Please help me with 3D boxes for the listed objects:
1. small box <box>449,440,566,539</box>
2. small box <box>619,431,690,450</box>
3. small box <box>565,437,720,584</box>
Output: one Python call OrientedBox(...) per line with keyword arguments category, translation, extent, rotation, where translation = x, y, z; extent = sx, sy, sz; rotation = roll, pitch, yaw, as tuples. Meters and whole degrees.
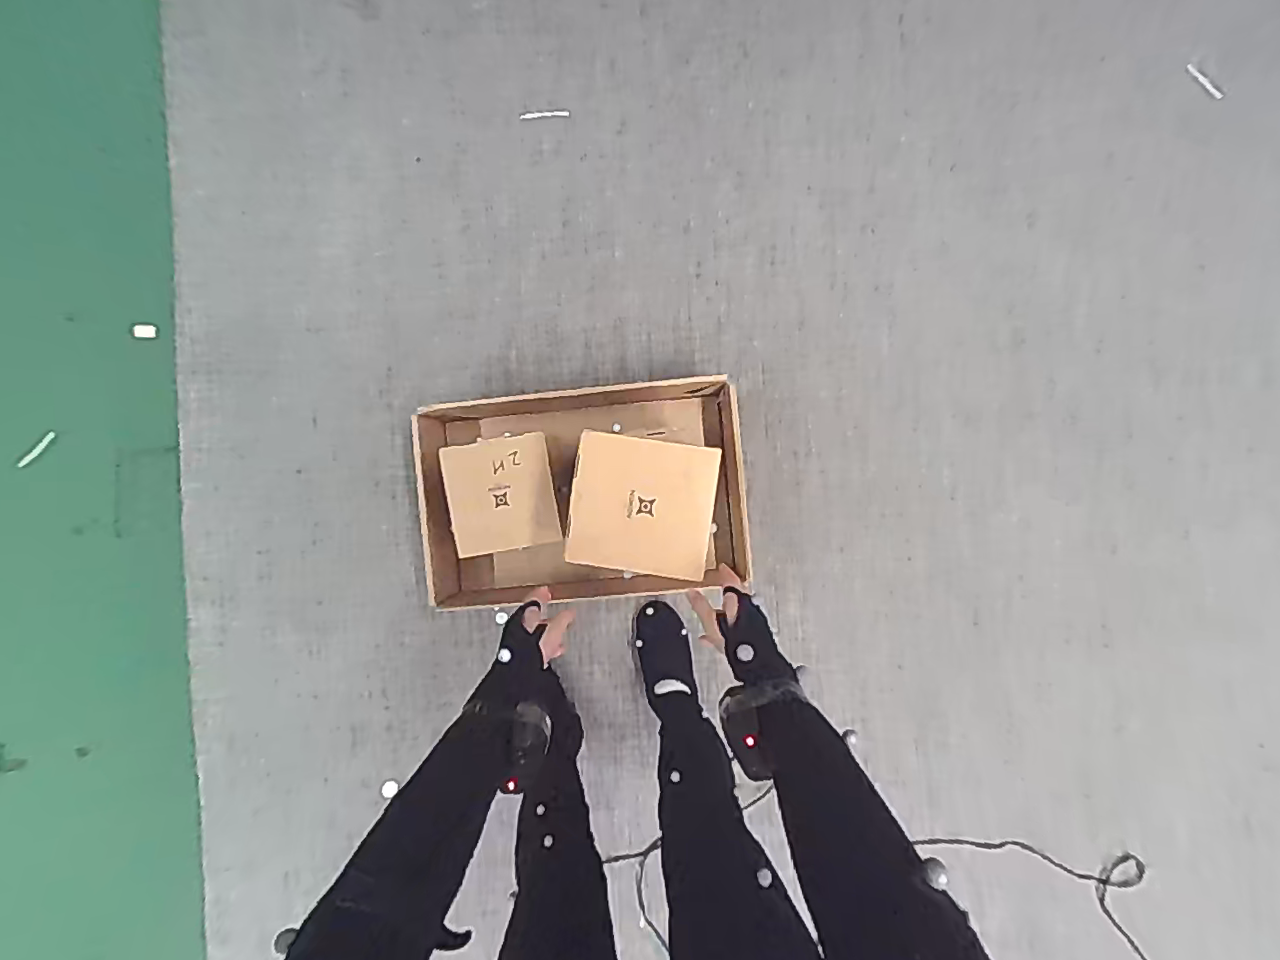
OrientedBox(category="small box", translation=(-0.256, 0.018, 1.080), extent=(0.179, 0.176, 0.168), rotation=(-9, 91, 1))
OrientedBox(category="small box", translation=(0.007, 0.022, 0.904), extent=(0.168, 0.176, 0.179), rotation=(-8, 90, 4))
OrientedBox(category="small box", translation=(0.007, 0.034, 0.741), extent=(0.179, 0.176, 0.168), rotation=(7, 92, 4))
